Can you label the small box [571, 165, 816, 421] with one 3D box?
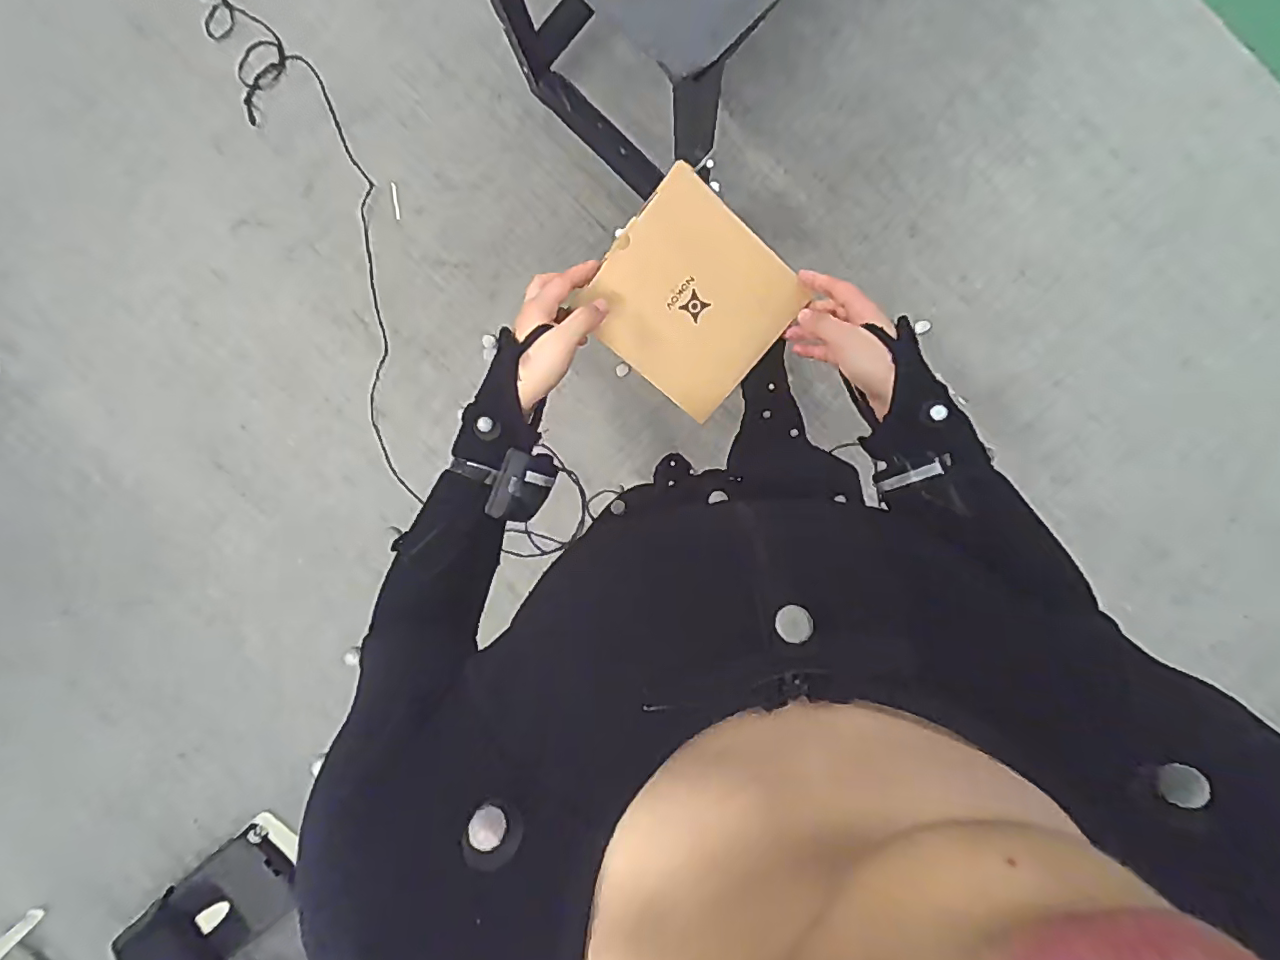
[{"bbox_3d":[0.048,-0.193,0.584,0.179,0.176,0.168,37,103,-13],"label":"small box"}]
